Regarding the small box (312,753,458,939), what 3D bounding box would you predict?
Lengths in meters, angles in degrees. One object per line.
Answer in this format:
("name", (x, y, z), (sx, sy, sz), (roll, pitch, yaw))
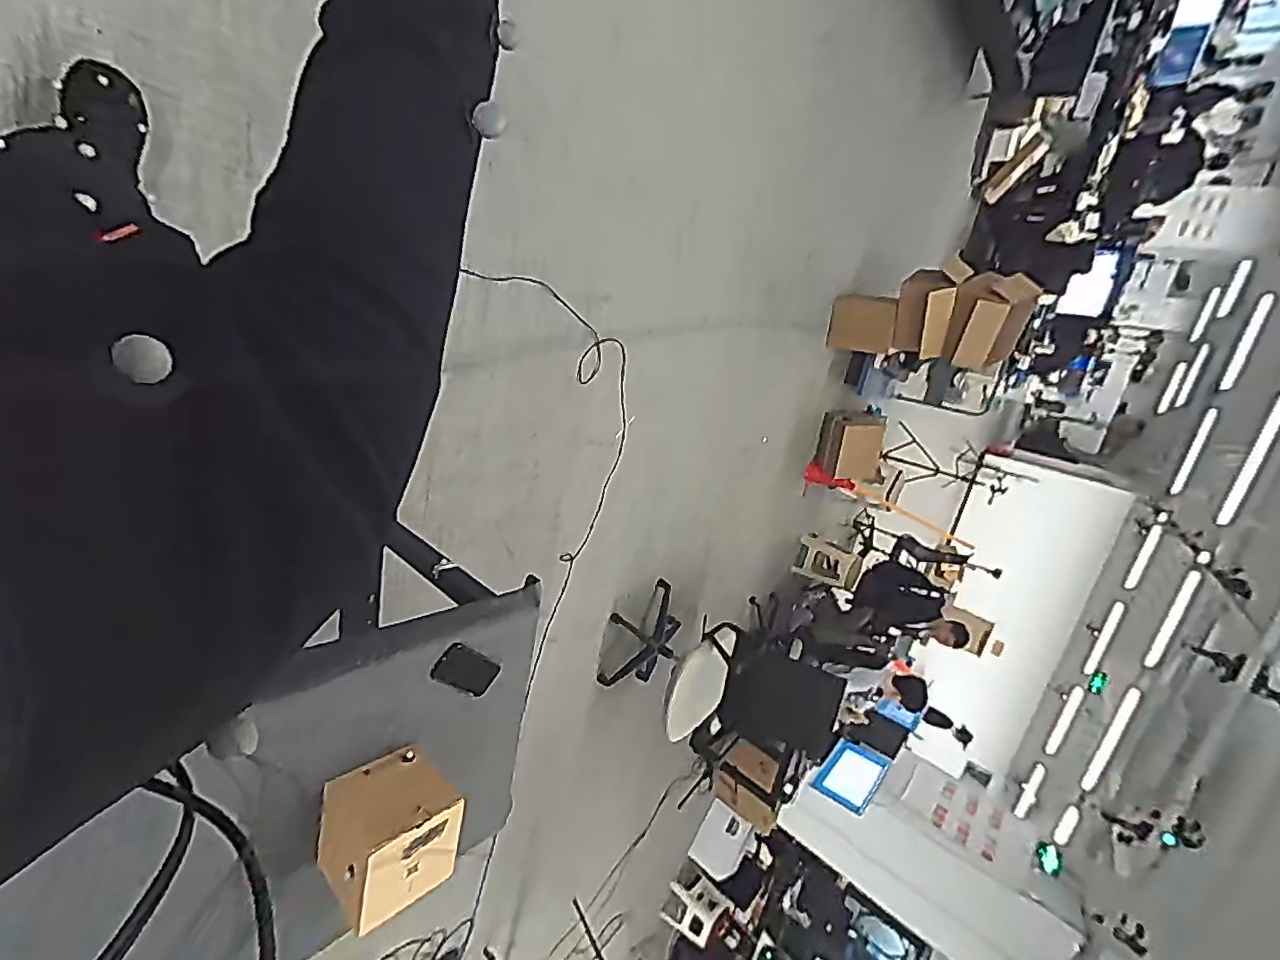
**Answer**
("small box", (-0.442, 0.608, 0.931), (0.168, 0.176, 0.179), (-4, 113, -51))
